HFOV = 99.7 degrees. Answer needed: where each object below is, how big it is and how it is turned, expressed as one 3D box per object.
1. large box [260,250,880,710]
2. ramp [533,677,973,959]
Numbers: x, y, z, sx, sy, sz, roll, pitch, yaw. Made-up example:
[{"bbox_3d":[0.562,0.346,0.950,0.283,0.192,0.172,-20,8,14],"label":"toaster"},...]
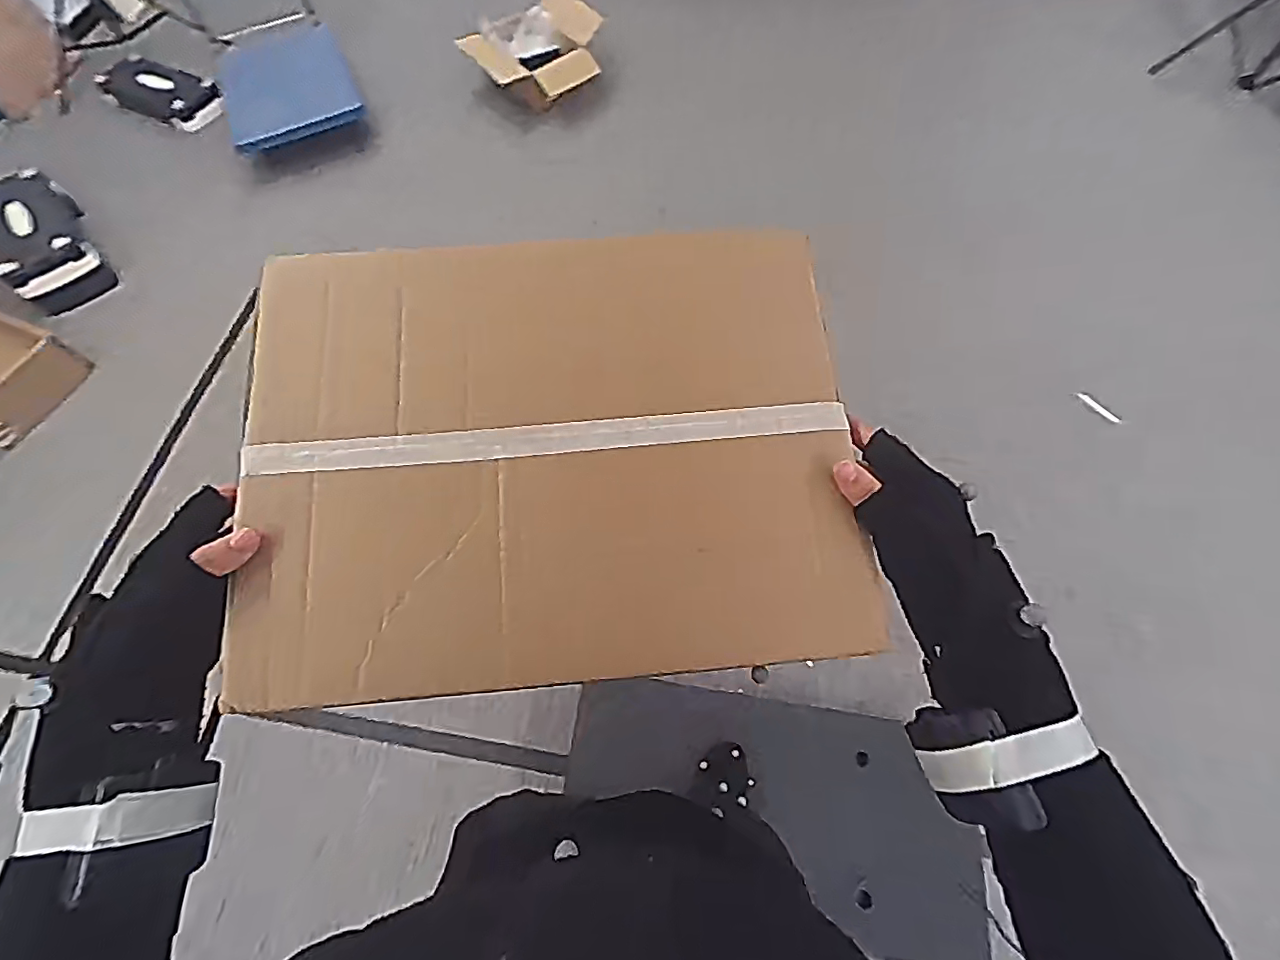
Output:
[{"bbox_3d":[-0.054,0.016,0.524,0.408,0.320,0.320,-4,75,-3],"label":"large box"},{"bbox_3d":[0.293,0.773,1.276,0.991,0.206,0.509,6,64,4],"label":"ramp"}]
